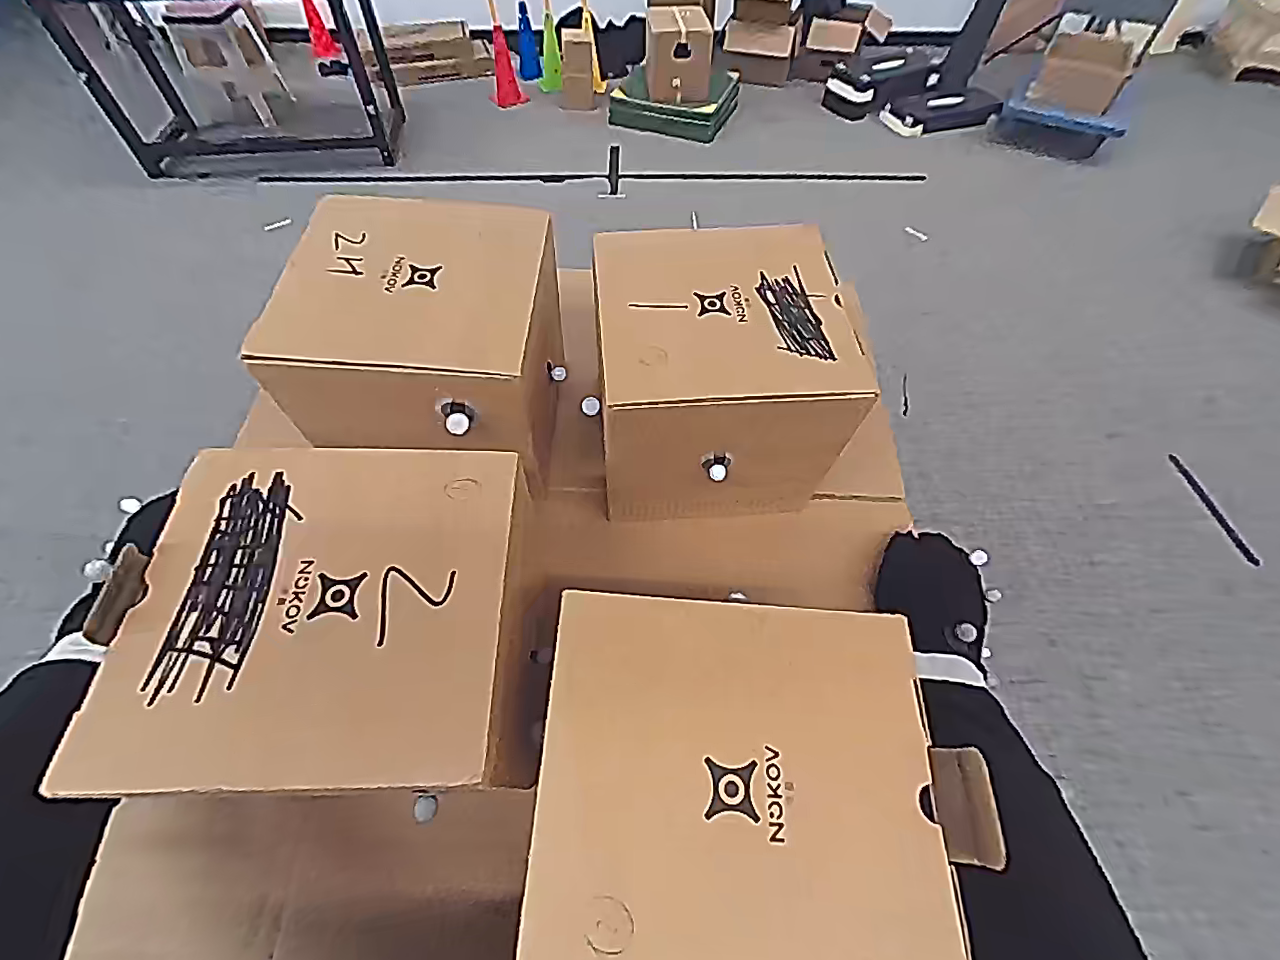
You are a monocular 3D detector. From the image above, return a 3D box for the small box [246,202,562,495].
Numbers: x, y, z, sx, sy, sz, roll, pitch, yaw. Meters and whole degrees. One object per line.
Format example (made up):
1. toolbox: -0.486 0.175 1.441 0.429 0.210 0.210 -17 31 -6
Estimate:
1. small box: -0.163 -0.098 0.451 0.179 0.176 0.168 3 60 -1
